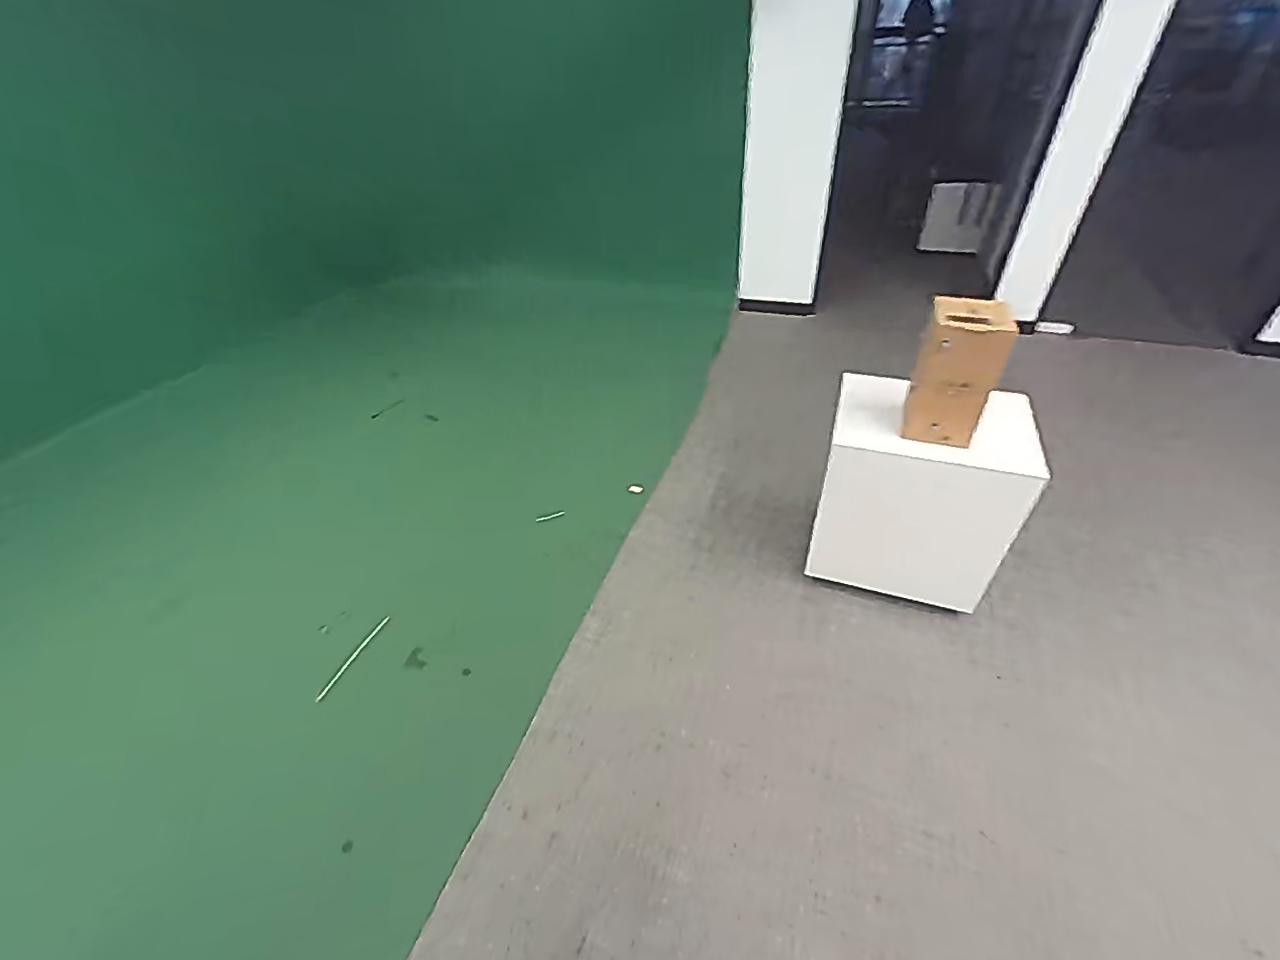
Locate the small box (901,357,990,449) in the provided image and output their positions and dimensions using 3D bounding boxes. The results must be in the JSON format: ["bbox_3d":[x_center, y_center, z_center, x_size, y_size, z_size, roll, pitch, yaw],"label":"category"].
[{"bbox_3d":[0.808,-0.207,1.445,0.168,0.176,0.179,11,42,18],"label":"small box"}]
